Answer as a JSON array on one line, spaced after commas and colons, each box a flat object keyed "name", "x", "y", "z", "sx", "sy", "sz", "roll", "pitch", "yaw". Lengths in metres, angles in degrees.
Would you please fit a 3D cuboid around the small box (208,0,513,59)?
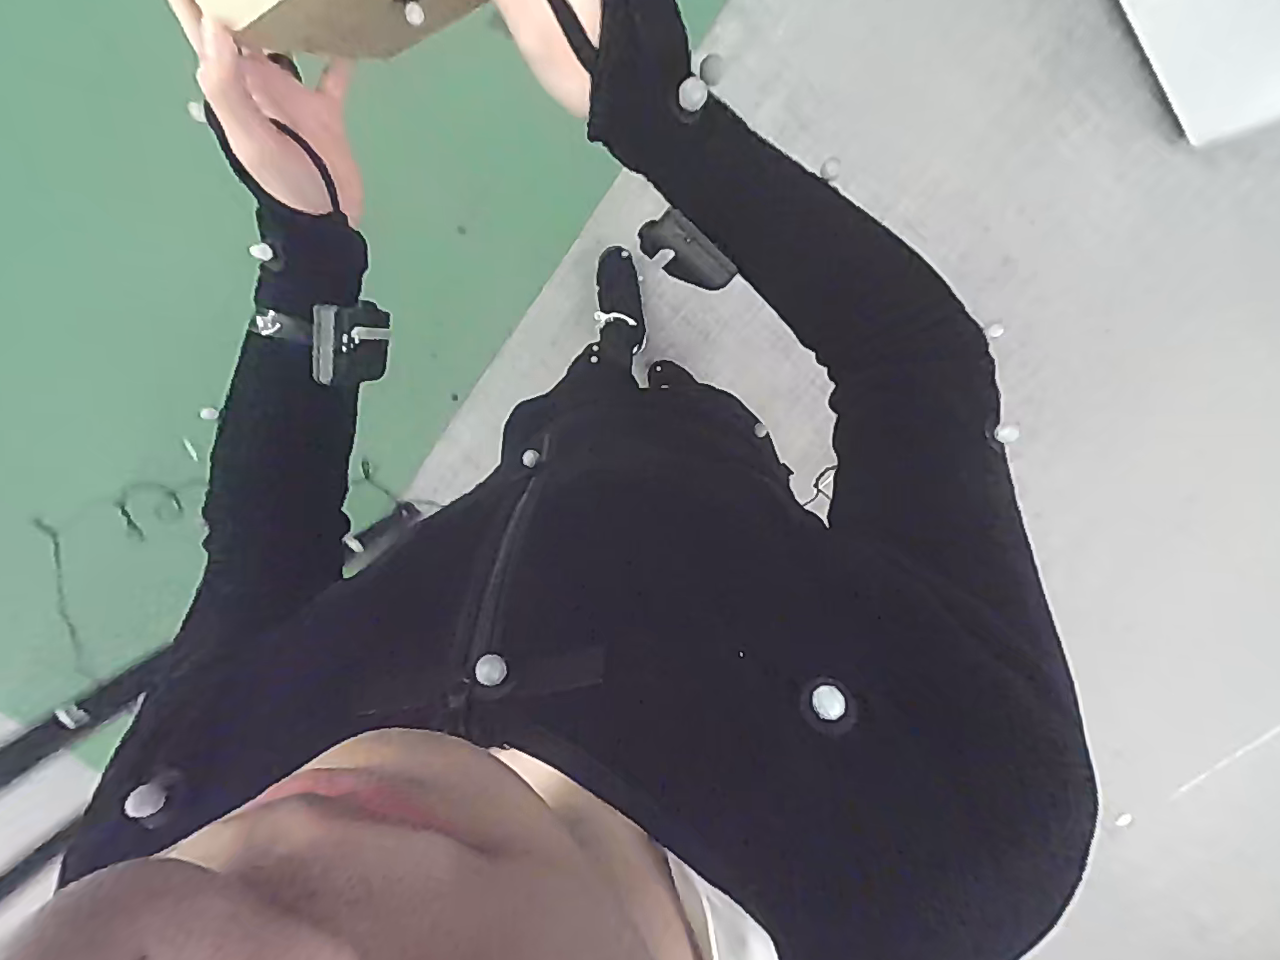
[{"name": "small box", "x": -0.155, "y": -0.363, "z": 0.293, "sx": 0.179, "sy": 0.176, "sz": 0.168, "roll": -11, "pitch": 121, "yaw": 19}]
